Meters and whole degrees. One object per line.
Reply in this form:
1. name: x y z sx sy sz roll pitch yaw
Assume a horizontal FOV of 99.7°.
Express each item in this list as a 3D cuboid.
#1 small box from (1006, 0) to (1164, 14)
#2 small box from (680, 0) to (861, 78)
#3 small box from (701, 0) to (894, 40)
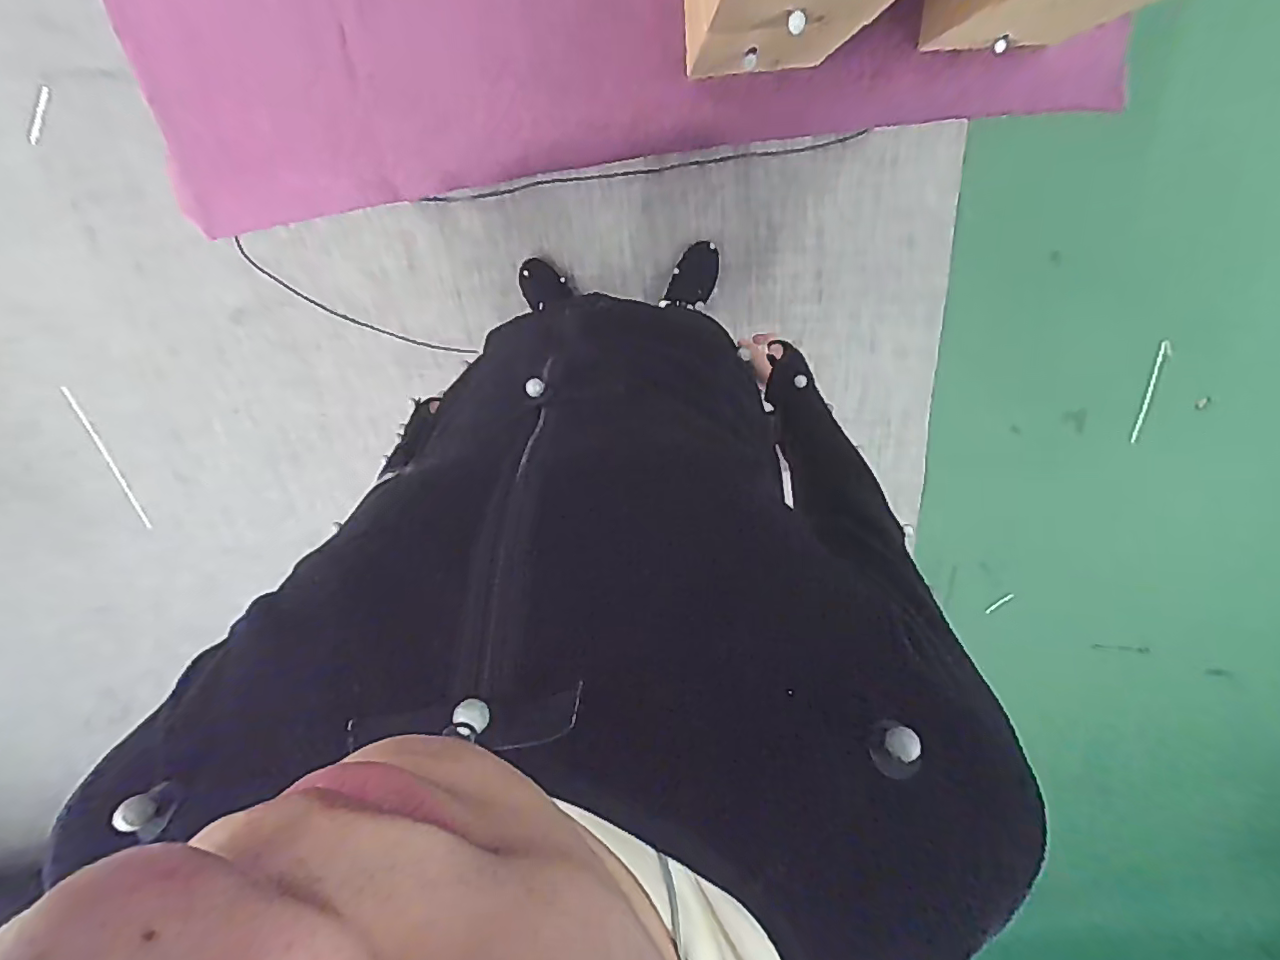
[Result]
1. small box: 0.418 -0.498 0.411 0.168 0.176 0.179 -2 114 1
2. small box: 0.132 -0.546 0.567 0.168 0.176 0.179 -5 114 1
3. small box: 0.136 -0.479 0.417 0.168 0.176 0.179 -4 115 1
